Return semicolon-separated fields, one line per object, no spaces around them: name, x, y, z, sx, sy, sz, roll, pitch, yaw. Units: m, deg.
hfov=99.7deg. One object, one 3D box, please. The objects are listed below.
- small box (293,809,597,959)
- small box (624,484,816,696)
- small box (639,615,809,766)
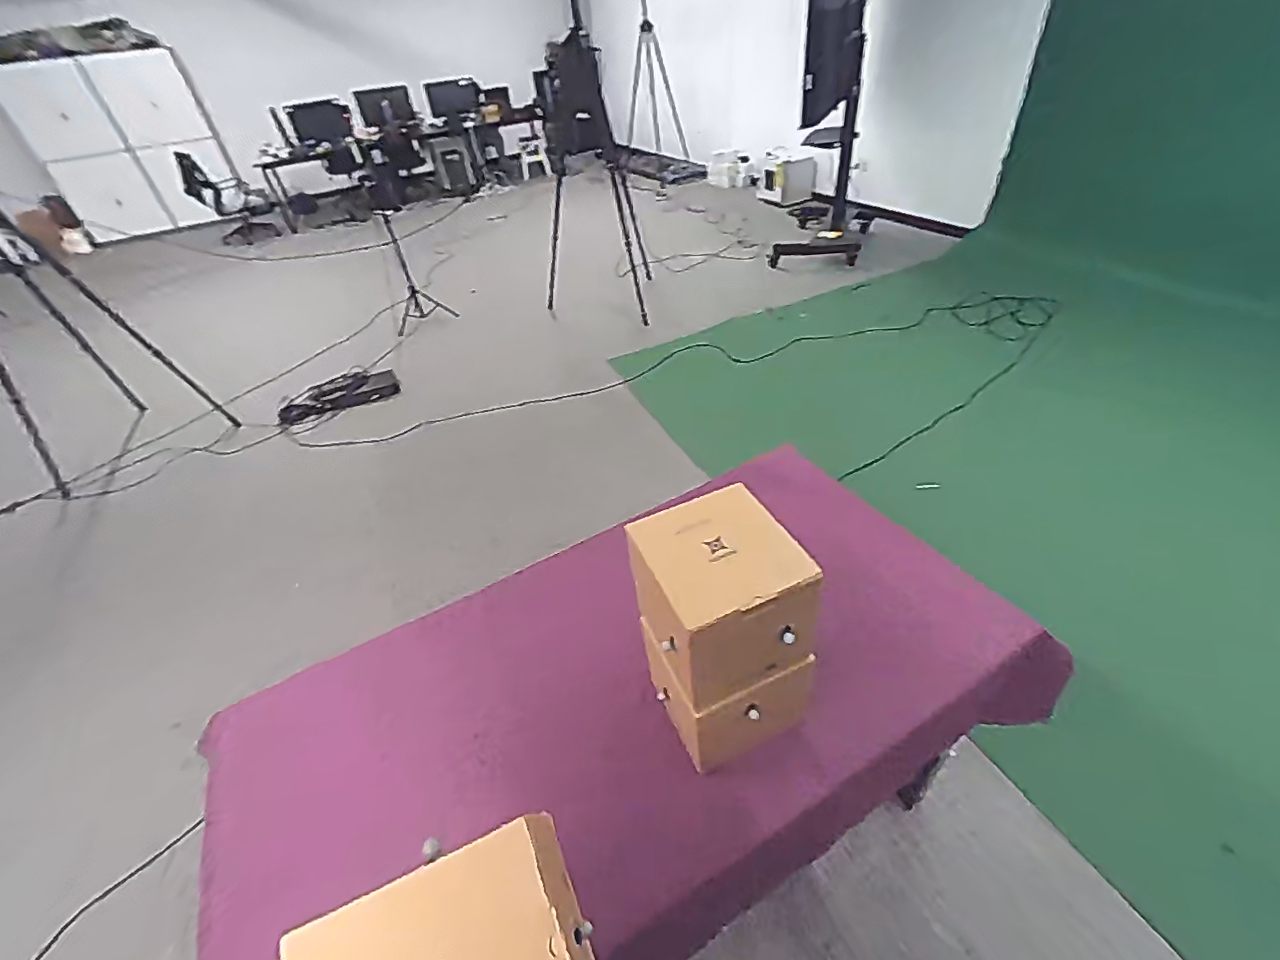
small box;-0.134;0.387;0.426;0.179;0.176;0.168;-19;61;-14
small box;0.095;0.140;0.673;0.168;0.176;0.179;-20;40;-13
small box;0.118;0.269;0.771;0.179;0.176;0.168;-20;42;-13
